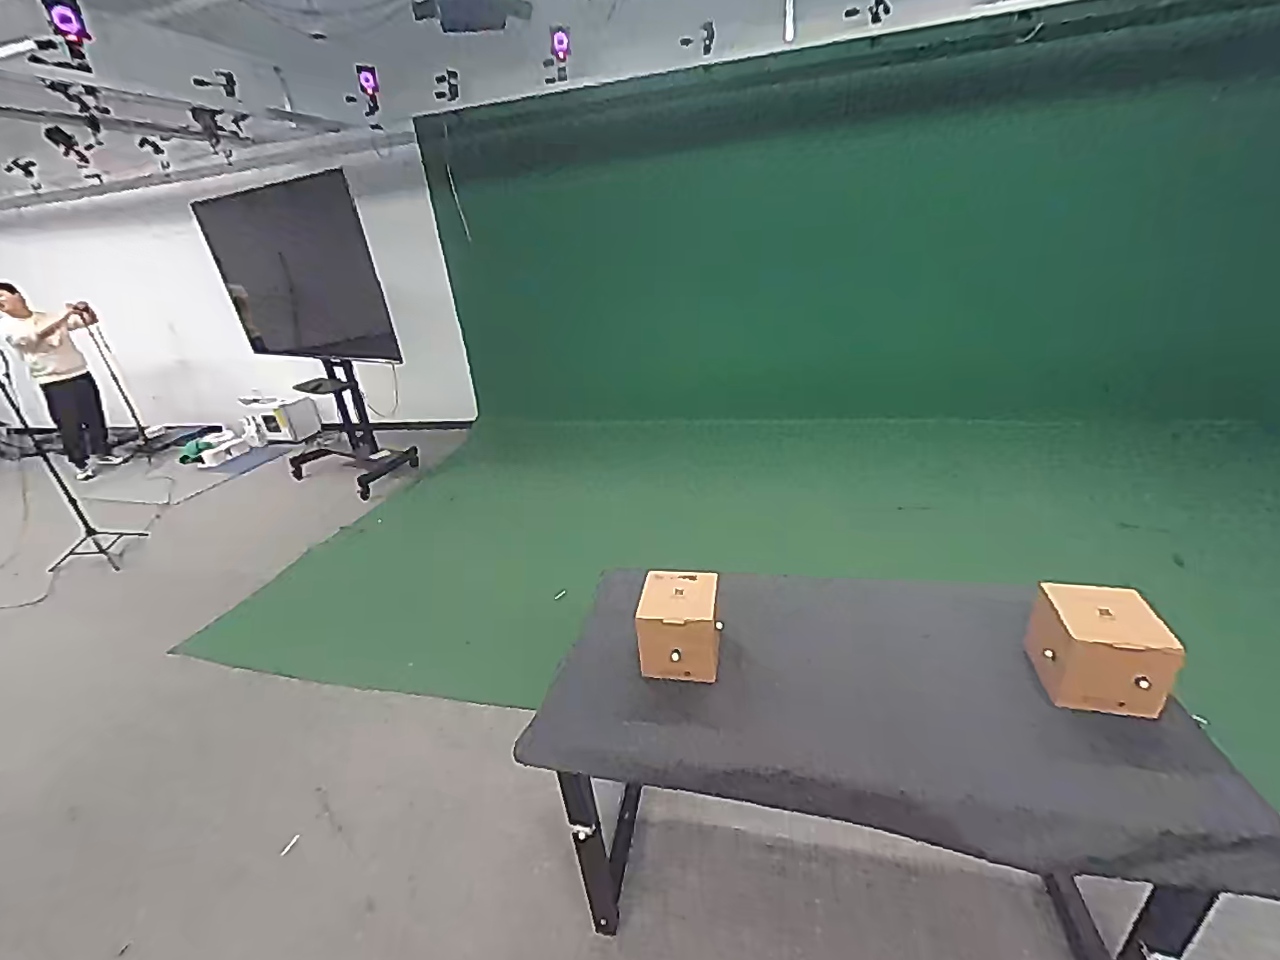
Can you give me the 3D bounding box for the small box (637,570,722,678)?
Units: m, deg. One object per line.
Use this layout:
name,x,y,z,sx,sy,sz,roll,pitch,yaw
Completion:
small box,0.098,0.325,1.230,0.168,0.176,0.179,0,26,12

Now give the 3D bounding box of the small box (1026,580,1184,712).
small box,0.885,0.319,1.050,0.168,0.176,0.179,2,25,16
